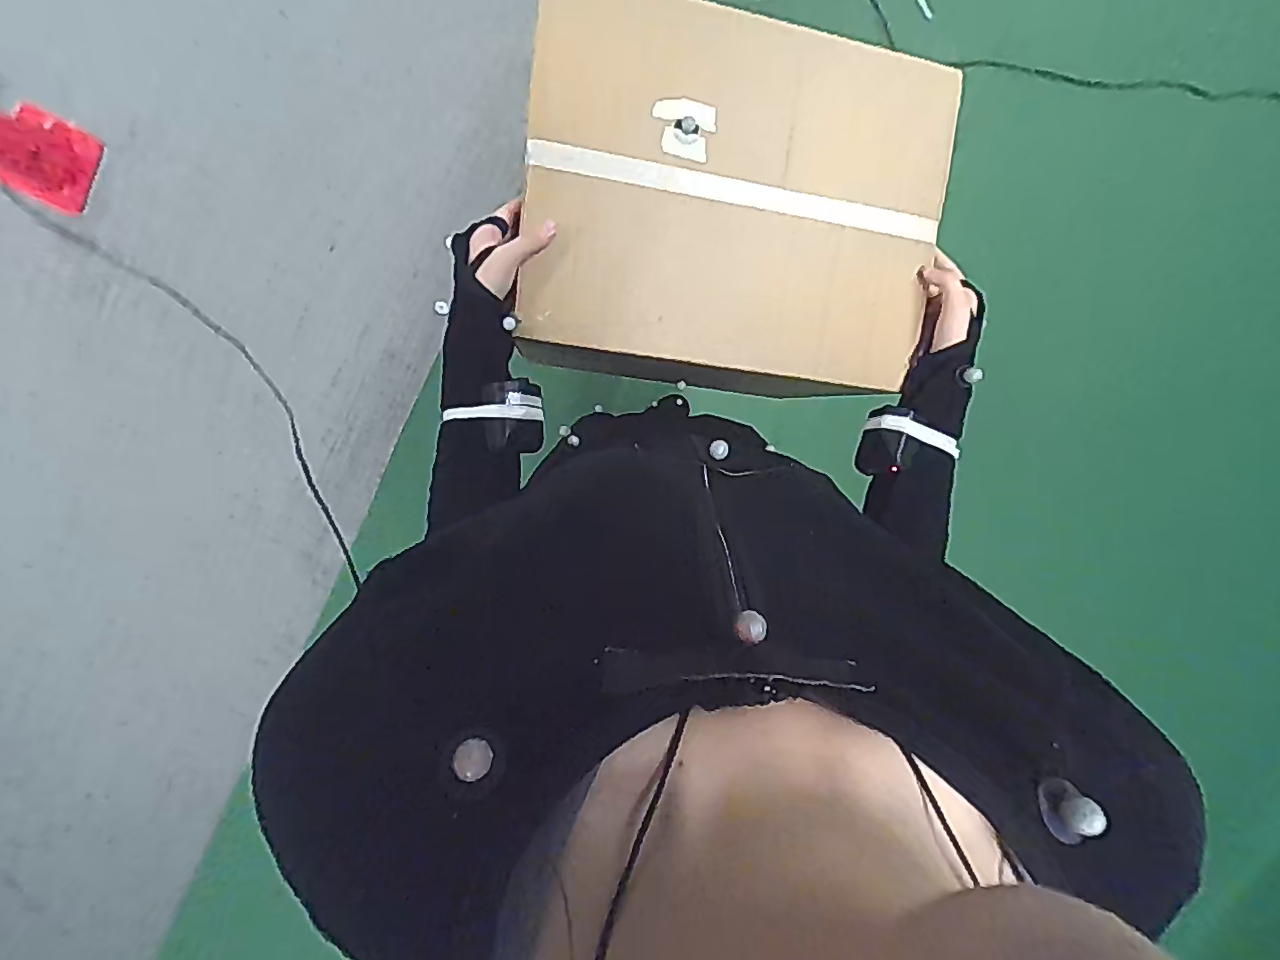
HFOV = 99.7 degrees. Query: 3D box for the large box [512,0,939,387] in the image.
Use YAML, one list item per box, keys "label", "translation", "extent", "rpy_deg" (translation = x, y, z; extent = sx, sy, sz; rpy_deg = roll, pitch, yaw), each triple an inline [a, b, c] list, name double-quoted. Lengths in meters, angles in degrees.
- label: "large box"
  translation: [0.067, -0.288, 0.667]
  extent: [0.408, 0.320, 0.320]
  rpy_deg: [5, 96, -10]
